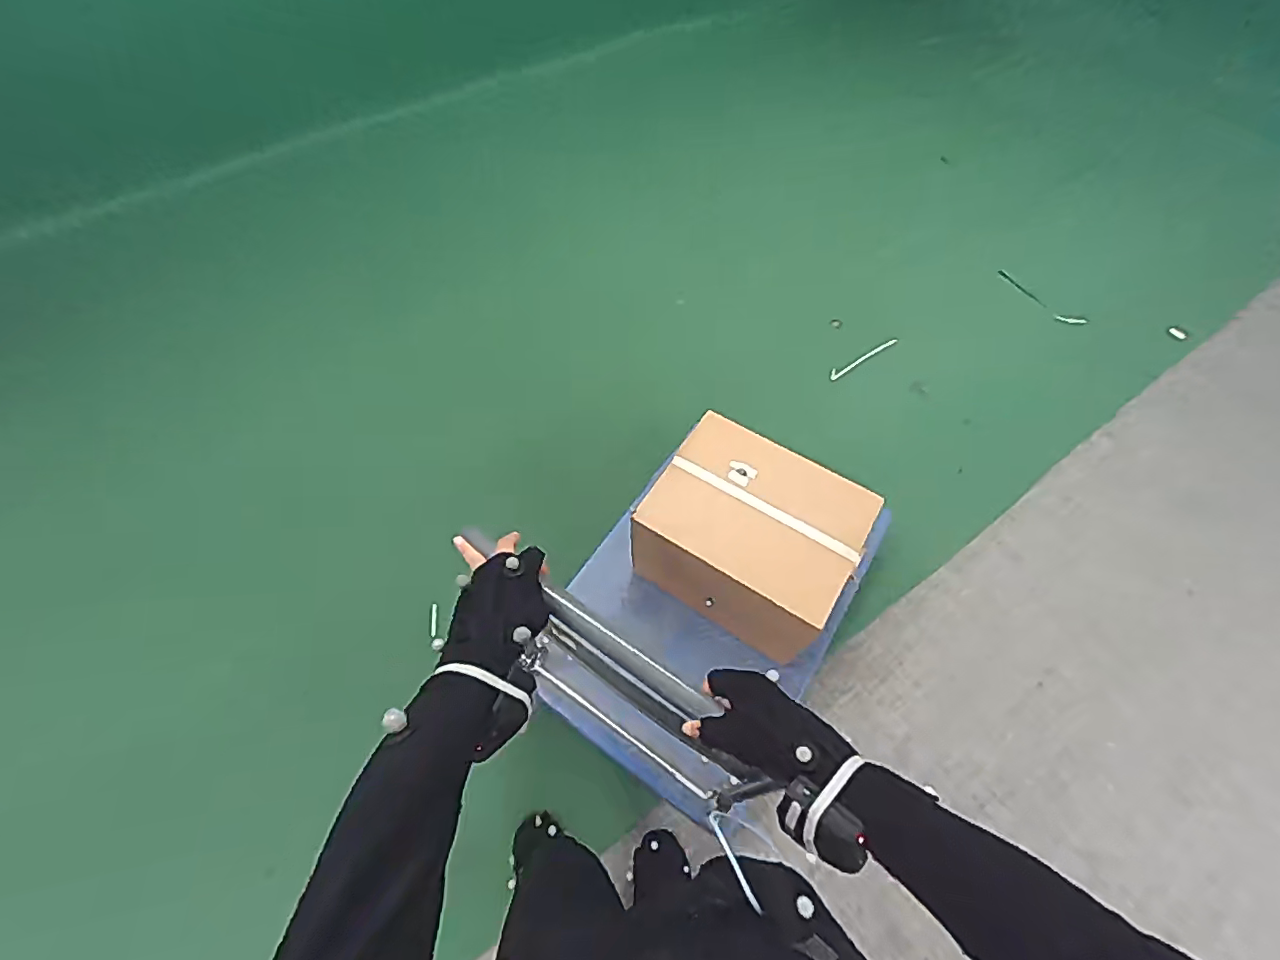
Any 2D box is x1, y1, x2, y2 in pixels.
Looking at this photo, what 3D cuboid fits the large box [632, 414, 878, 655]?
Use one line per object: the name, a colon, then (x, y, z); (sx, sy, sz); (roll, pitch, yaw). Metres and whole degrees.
large box: (0.235, 0.128, 1.201); (0.408, 0.320, 0.320); (29, 64, 16)
